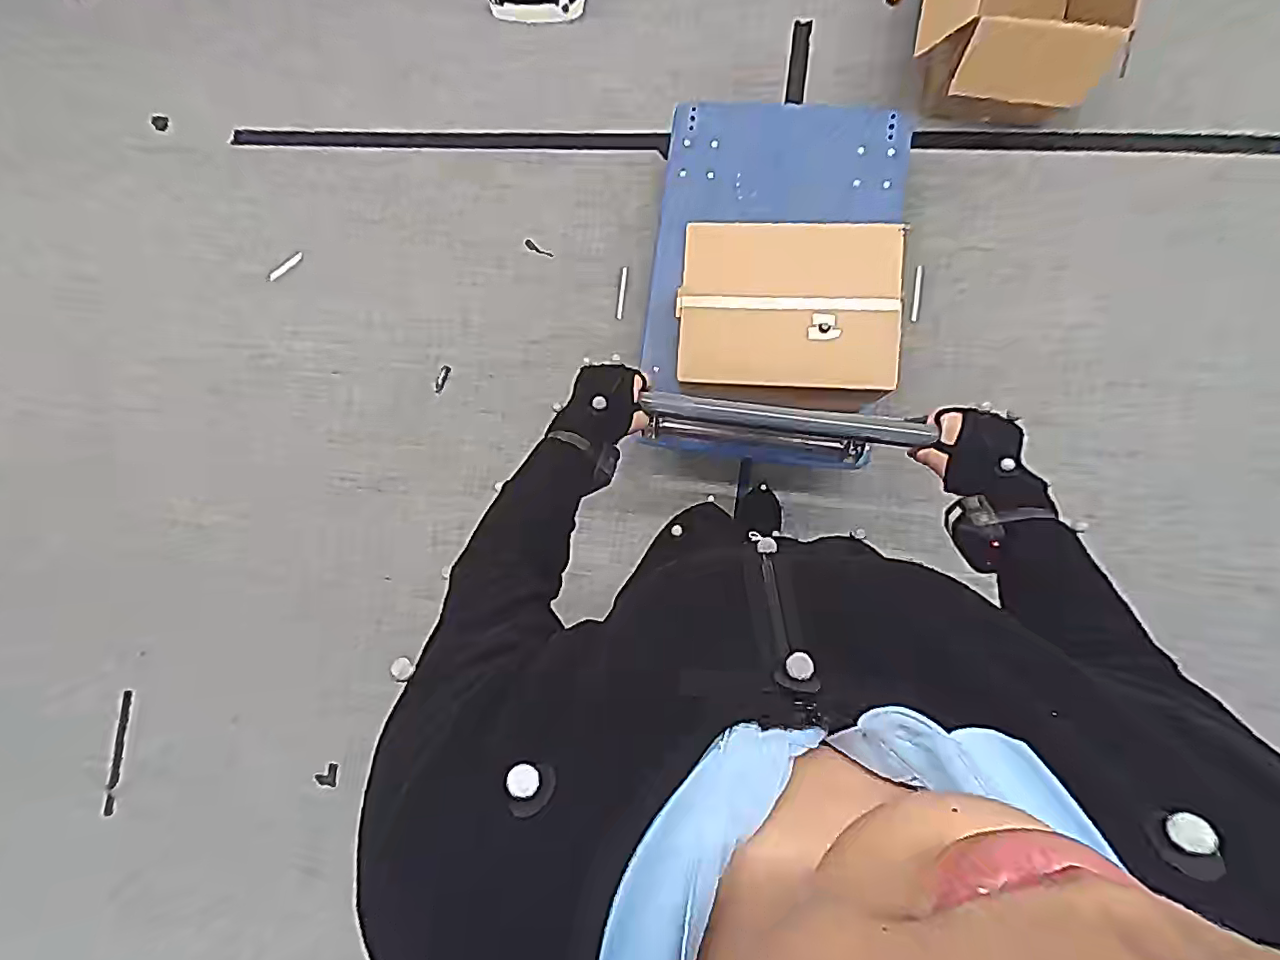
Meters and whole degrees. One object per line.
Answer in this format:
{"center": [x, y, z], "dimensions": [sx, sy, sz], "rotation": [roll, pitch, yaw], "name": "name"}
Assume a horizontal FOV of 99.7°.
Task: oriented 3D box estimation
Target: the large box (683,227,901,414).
{"center": [0.299, -0.323, 1.174], "dimensions": [0.408, 0.320, 0.320], "rotation": [3, 89, 6], "name": "large box"}
